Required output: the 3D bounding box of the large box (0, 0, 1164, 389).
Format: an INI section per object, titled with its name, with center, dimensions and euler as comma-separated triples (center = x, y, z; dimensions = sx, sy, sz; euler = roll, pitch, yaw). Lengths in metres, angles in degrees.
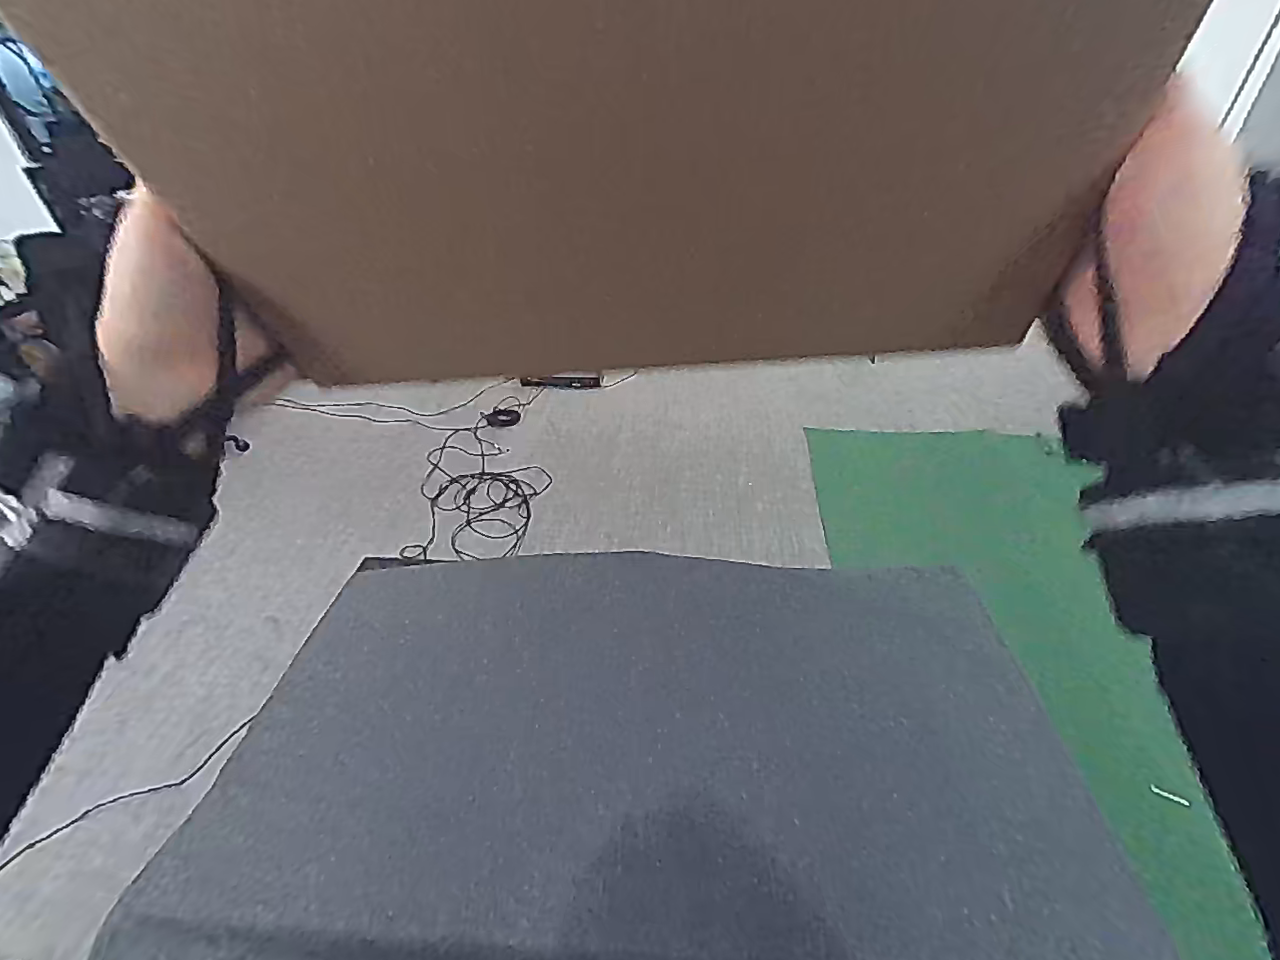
[large box]
center = -0.019, -0.272, 0.282
dimensions = 0.408, 0.320, 0.320
euler = -2, 56, 8
